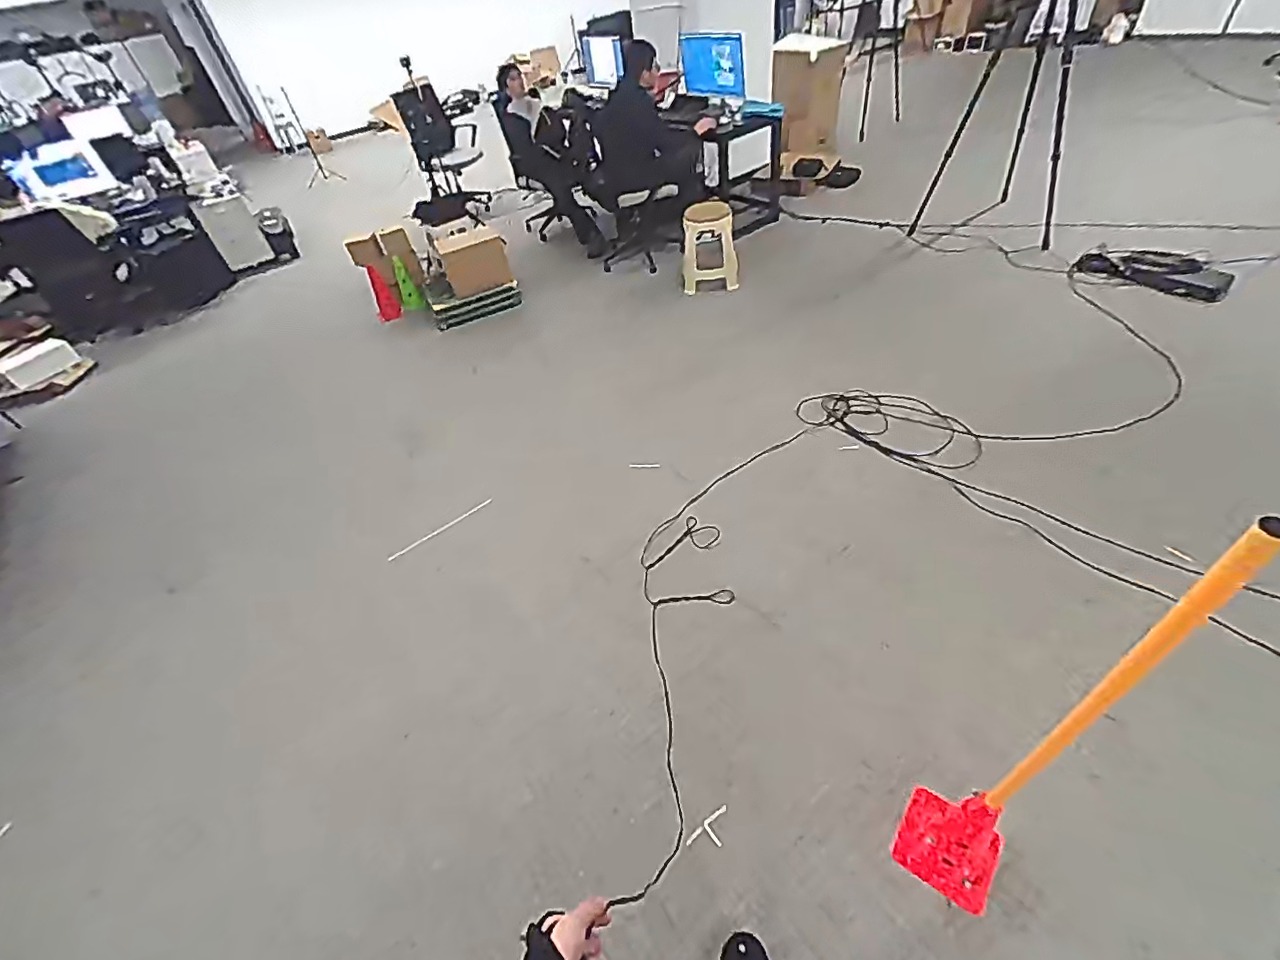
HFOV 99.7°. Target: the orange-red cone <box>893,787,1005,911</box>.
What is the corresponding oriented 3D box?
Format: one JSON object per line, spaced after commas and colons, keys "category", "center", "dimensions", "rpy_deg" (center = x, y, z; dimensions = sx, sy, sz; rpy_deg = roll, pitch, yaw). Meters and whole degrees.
{"category": "orange-red cone", "center": [0.708, 0.747, 1.171], "dimensions": [0.198, 0.360, 0.199], "rpy_deg": [25, 53, 31]}
